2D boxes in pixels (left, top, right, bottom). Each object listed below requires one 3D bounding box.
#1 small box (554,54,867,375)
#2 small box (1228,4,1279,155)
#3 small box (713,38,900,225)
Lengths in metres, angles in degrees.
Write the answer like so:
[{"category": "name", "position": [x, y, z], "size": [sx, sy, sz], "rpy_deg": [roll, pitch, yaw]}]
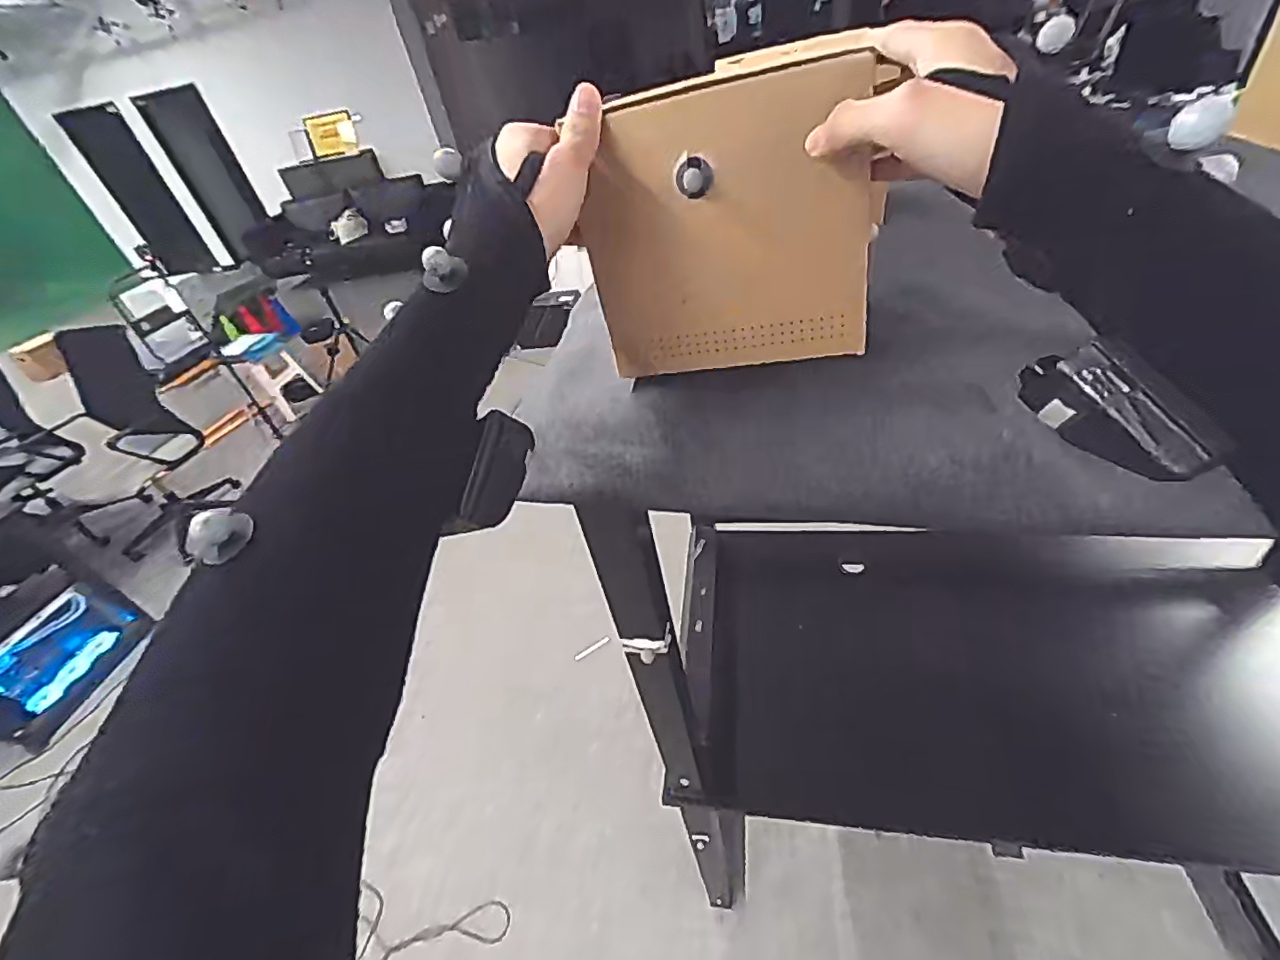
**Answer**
[{"category": "small box", "position": [0.062, -0.188, 0.398], "size": [0.179, 0.176, 0.168], "rpy_deg": [-3, 37, 15]}, {"category": "small box", "position": [0.741, -0.411, 0.509], "size": [0.168, 0.176, 0.179], "rpy_deg": [-3, 40, 12]}, {"category": "small box", "position": [0.176, -0.384, 0.624], "size": [0.179, 0.176, 0.168], "rpy_deg": [-3, 41, 10]}]
